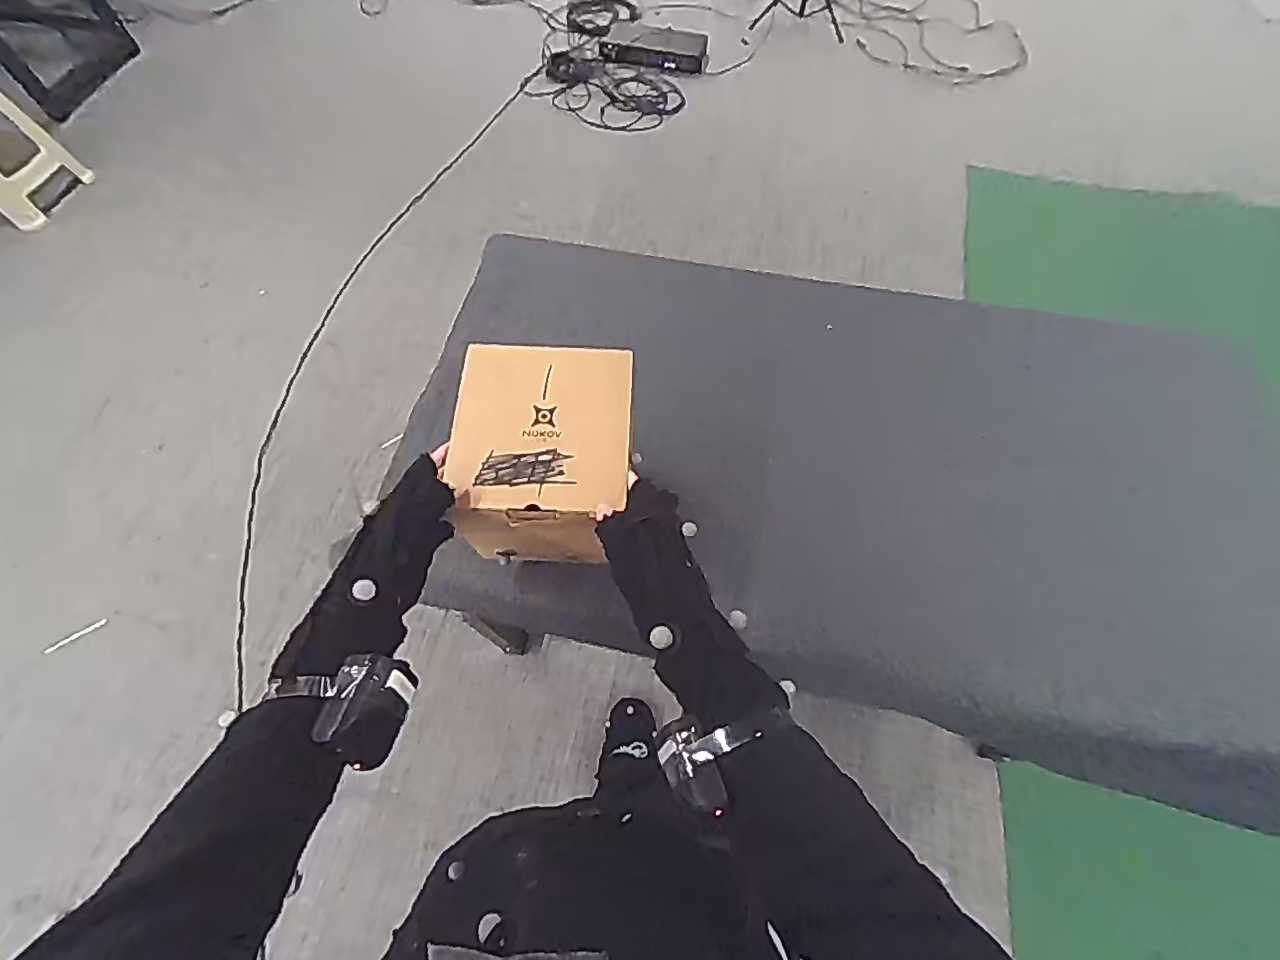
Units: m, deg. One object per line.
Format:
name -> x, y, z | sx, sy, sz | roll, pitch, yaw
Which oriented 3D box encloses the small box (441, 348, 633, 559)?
small box -> -0.094, -0.019, 0.585 | 0.168, 0.176, 0.179 | 3, 66, 0
